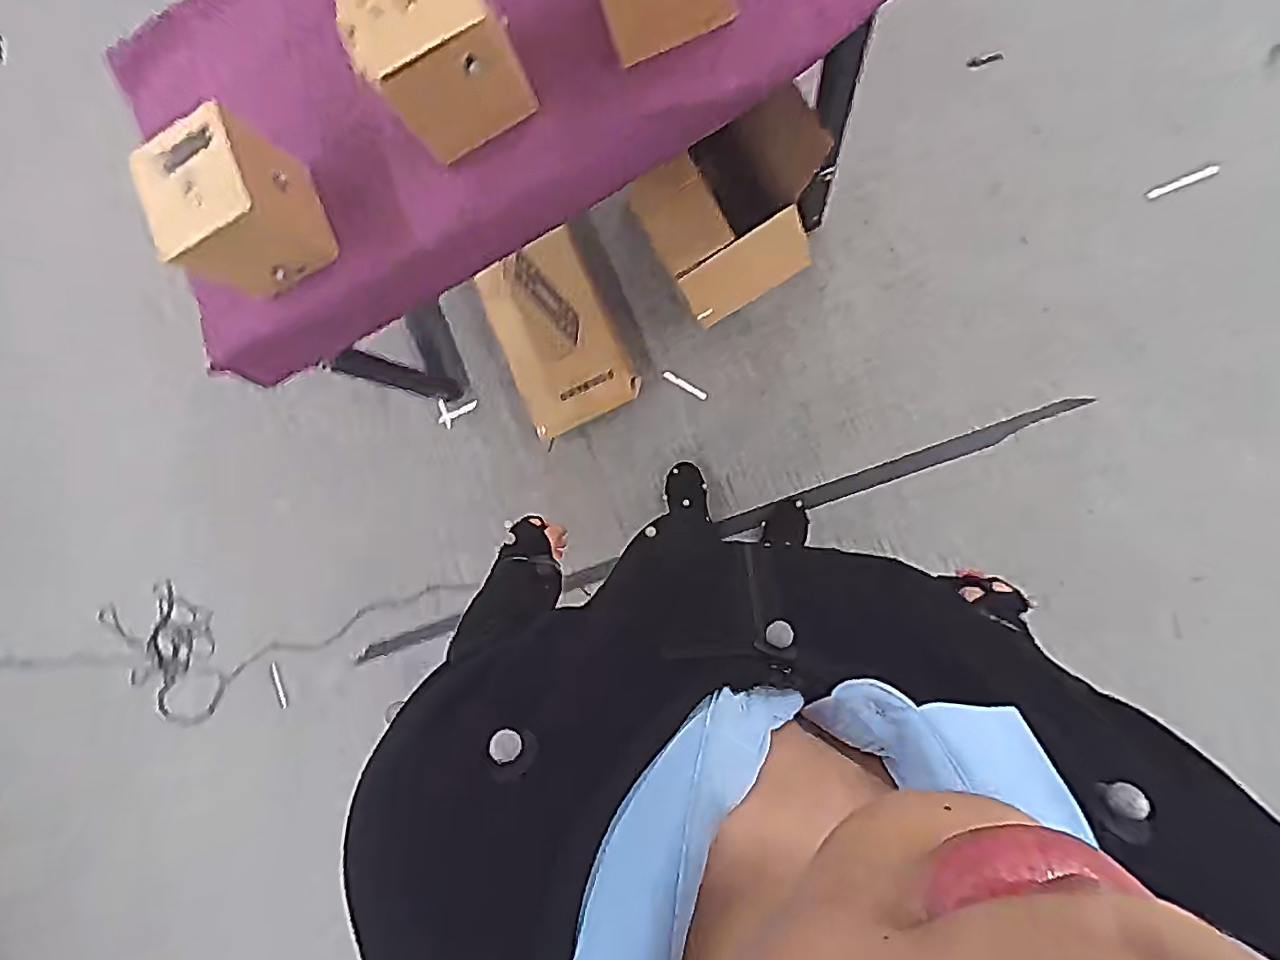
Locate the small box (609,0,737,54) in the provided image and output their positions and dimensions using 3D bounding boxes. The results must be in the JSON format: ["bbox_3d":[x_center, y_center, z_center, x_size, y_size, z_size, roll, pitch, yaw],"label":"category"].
[{"bbox_3d":[0.025,-0.717,0.706,0.179,0.176,0.168,-16,87,11],"label":"small box"}]

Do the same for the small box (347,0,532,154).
[{"bbox_3d":[-0.271,-0.615,0.764,0.179,0.176,0.168,-24,83,10],"label":"small box"}]
